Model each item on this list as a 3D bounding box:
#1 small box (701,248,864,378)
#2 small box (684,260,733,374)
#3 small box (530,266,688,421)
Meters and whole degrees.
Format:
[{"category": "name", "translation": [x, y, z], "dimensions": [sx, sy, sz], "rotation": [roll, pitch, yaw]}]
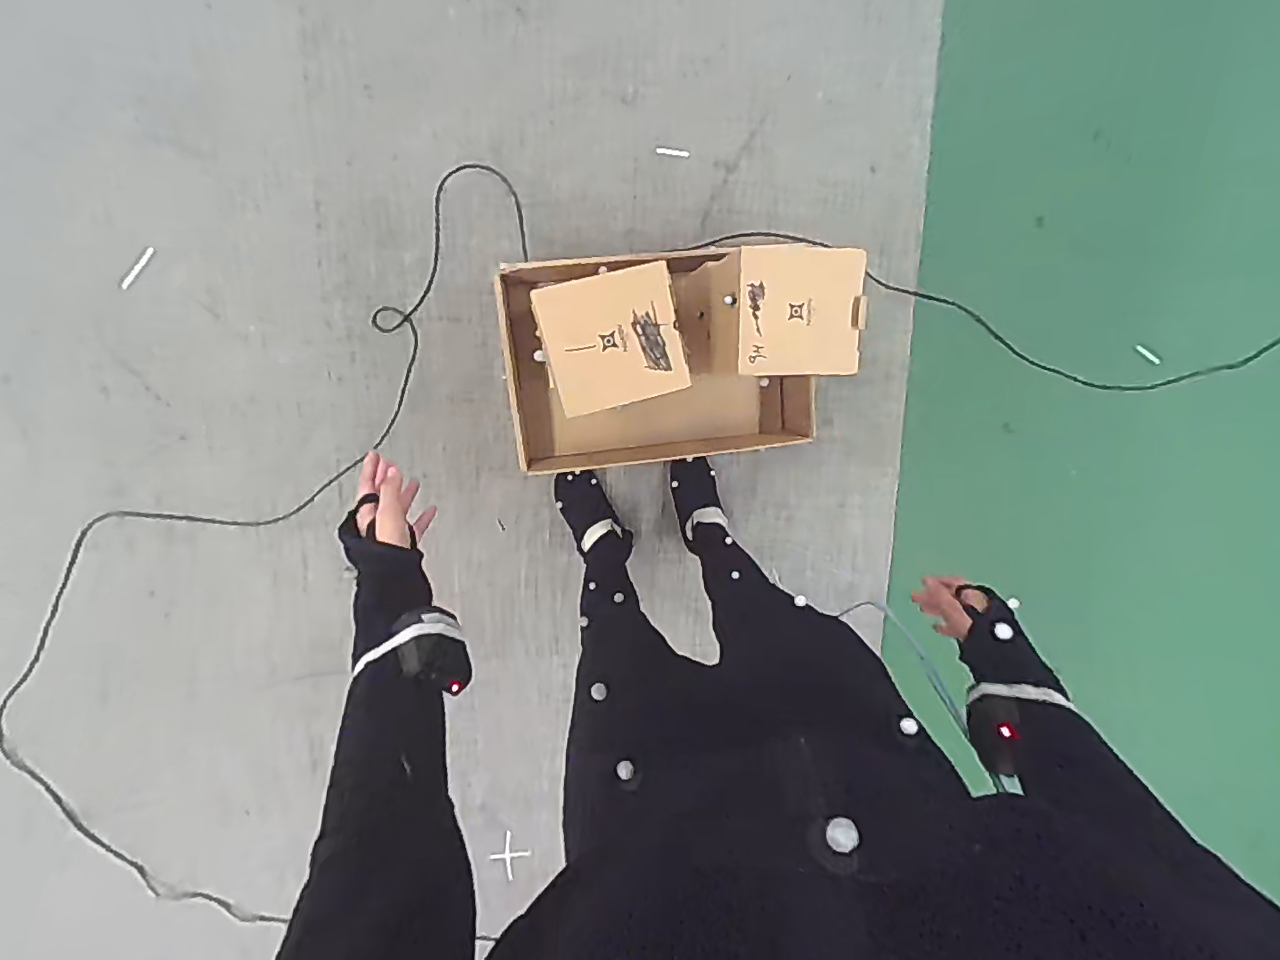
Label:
[{"category": "small box", "translation": [0.198, -0.235, 0.794], "dimensions": [0.179, 0.176, 0.168], "rotation": [-2, 101, -8]}, {"category": "small box", "translation": [0.175, -0.280, 0.953], "dimensions": [0.168, 0.176, 0.179], "rotation": [-5, 102, -7]}, {"category": "small box", "translation": [-0.050, -0.190, 0.768], "dimensions": [0.179, 0.176, 0.168], "rotation": [-16, 104, -6]}]
